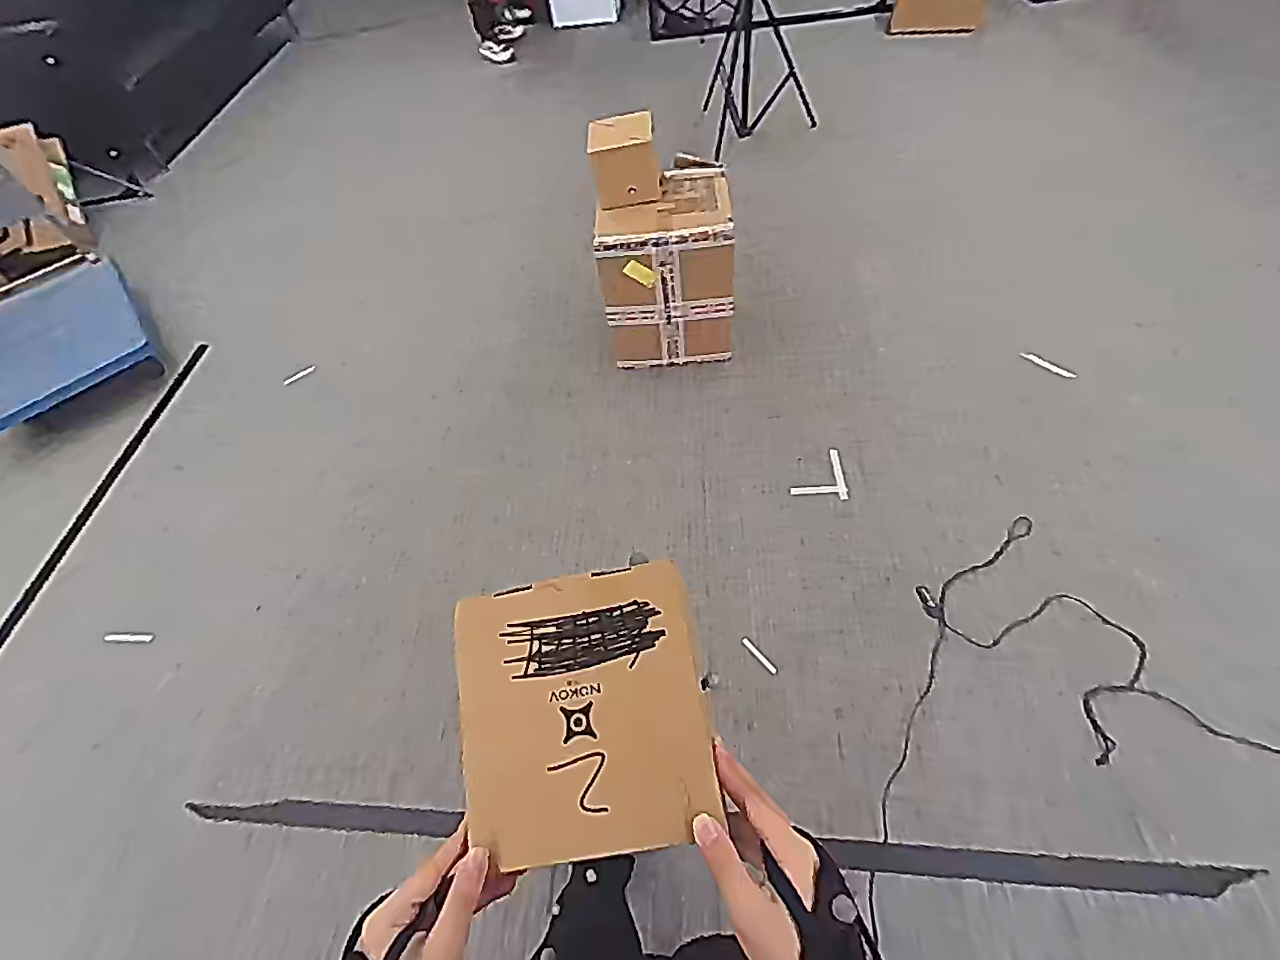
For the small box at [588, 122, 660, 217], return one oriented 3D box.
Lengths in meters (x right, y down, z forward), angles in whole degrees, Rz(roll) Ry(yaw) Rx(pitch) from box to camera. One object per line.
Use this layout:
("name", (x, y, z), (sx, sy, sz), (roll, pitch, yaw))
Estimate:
("small box", (-0.043, -0.889, 1.542), (0.179, 0.176, 0.168), (-6, 57, 7))
